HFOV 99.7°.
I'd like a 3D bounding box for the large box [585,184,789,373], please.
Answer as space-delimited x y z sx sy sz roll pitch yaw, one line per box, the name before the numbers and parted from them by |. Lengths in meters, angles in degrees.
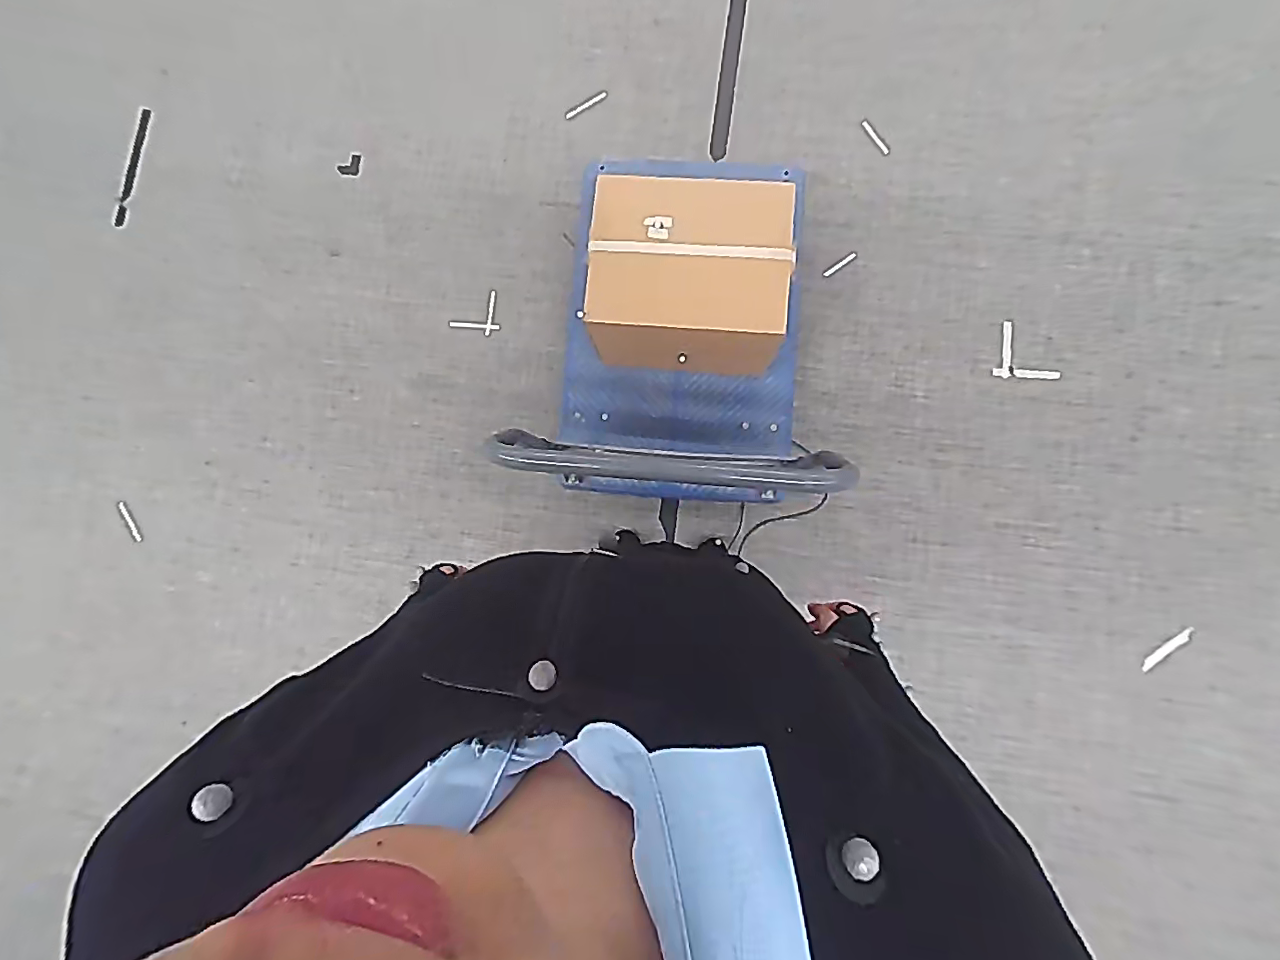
large box | 0.110 -0.441 1.242 0.408 0.320 0.320 4 84 6
